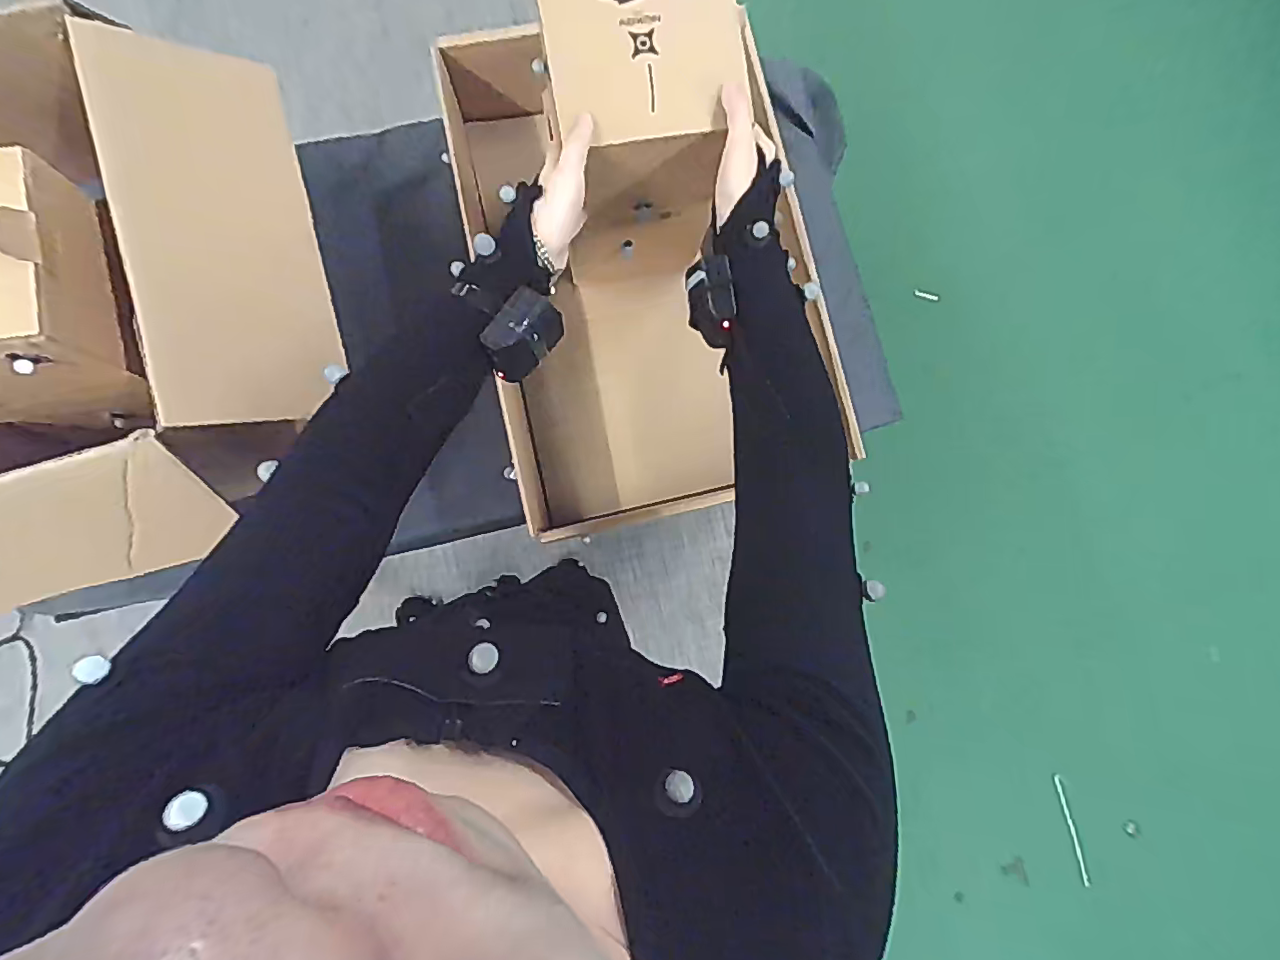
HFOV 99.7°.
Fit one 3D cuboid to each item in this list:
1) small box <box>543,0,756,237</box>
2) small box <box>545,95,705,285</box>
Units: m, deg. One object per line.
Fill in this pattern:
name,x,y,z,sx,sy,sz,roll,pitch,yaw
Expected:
small box,0.000,-0.367,0.529,0.168,0.176,0.179,-9,93,-3
small box,-0.015,-0.372,0.701,0.179,0.176,0.168,-11,88,-4
